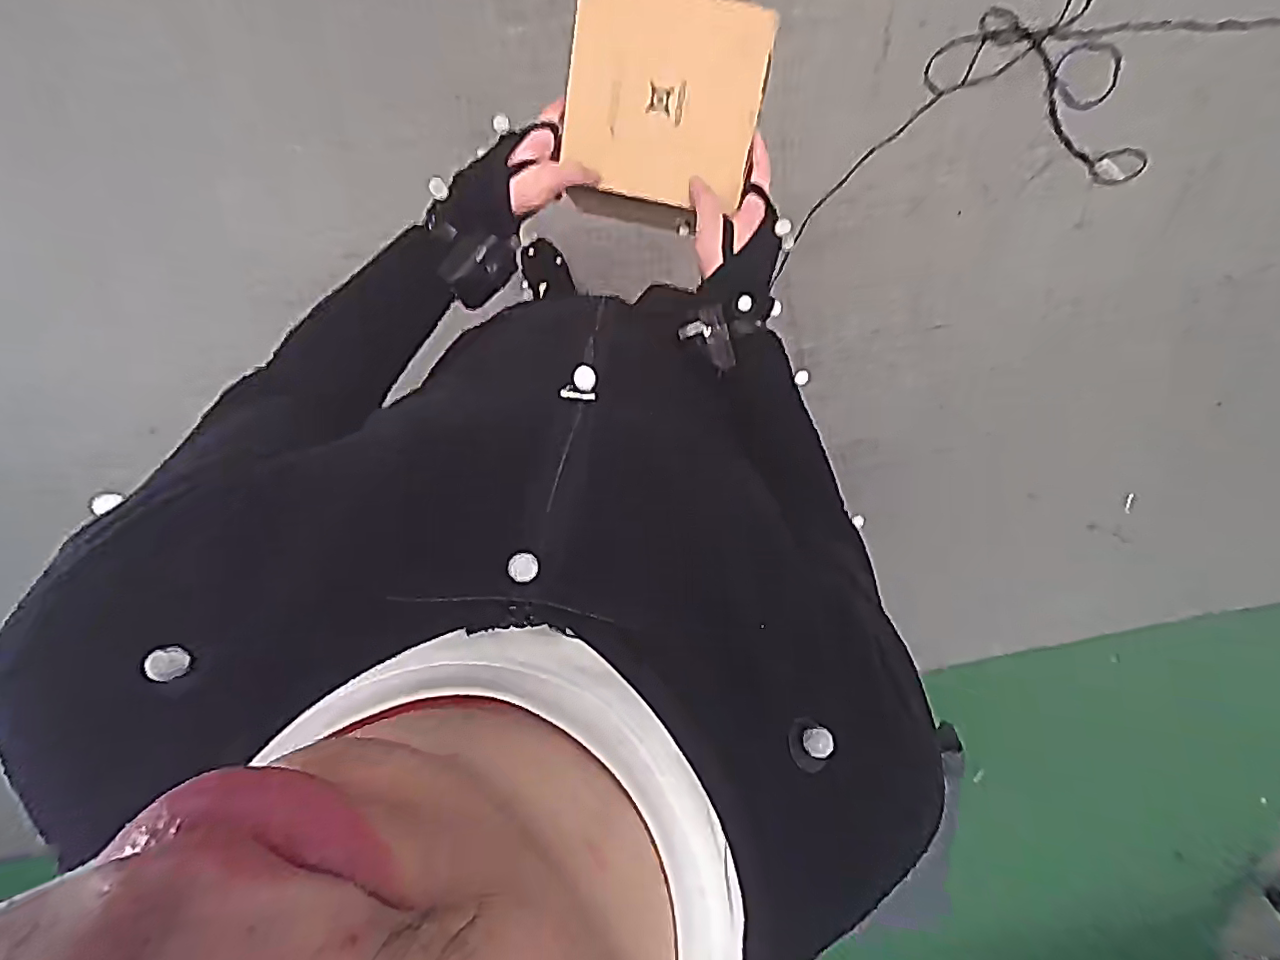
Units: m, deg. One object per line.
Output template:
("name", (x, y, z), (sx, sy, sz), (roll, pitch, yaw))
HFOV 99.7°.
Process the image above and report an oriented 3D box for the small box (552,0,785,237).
("small box", (0.022, -0.360, 0.551), (0.179, 0.176, 0.168), (12, 105, -3))
